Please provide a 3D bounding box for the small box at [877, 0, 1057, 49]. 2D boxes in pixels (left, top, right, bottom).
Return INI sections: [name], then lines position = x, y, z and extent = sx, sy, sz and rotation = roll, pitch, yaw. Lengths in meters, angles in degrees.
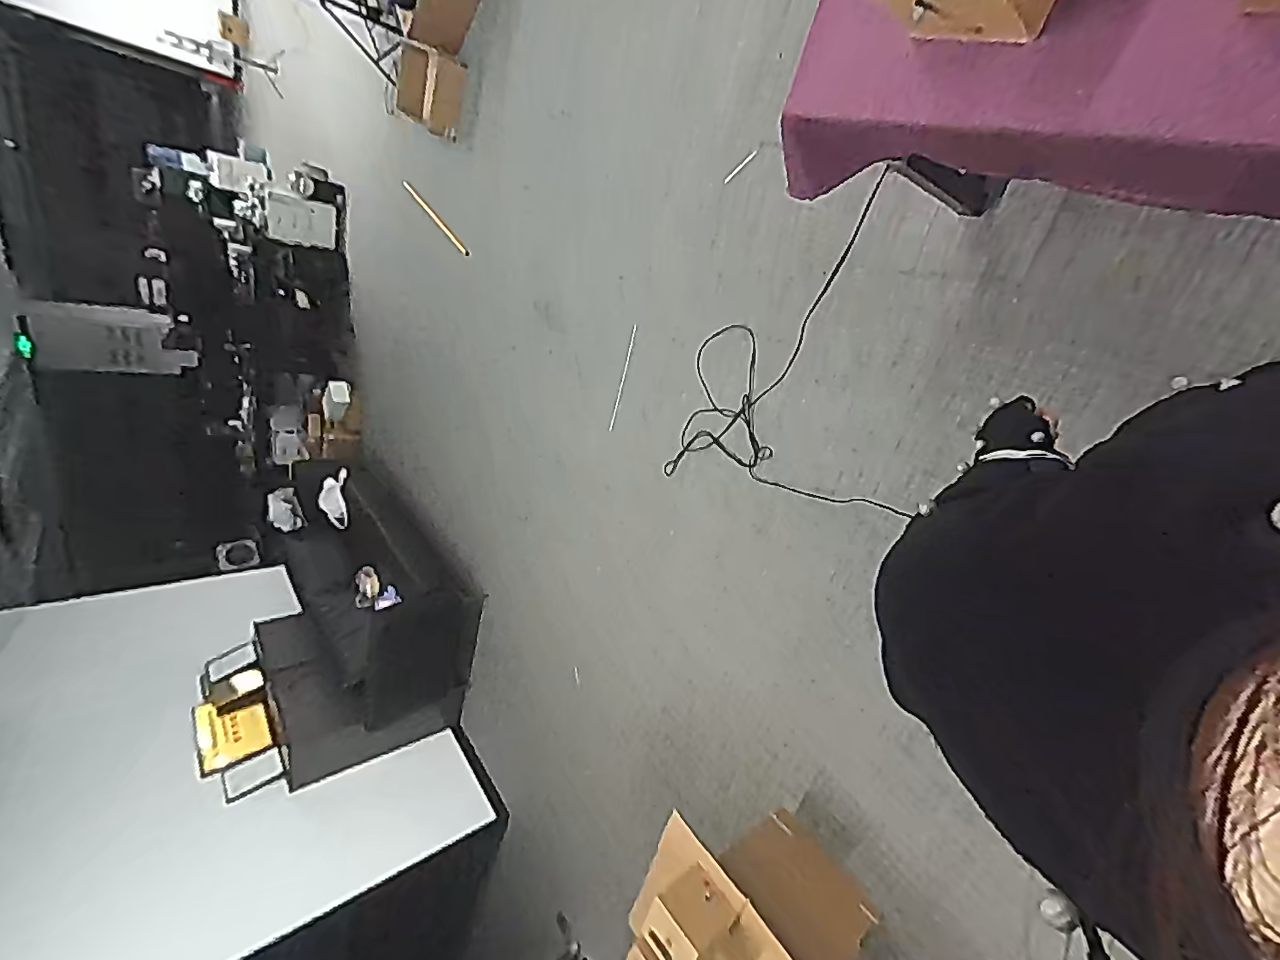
[small box]
position = 0.389, -0.623, 0.606
extent = 0.168, 0.176, 0.179
rotation = 42, 123, 37
